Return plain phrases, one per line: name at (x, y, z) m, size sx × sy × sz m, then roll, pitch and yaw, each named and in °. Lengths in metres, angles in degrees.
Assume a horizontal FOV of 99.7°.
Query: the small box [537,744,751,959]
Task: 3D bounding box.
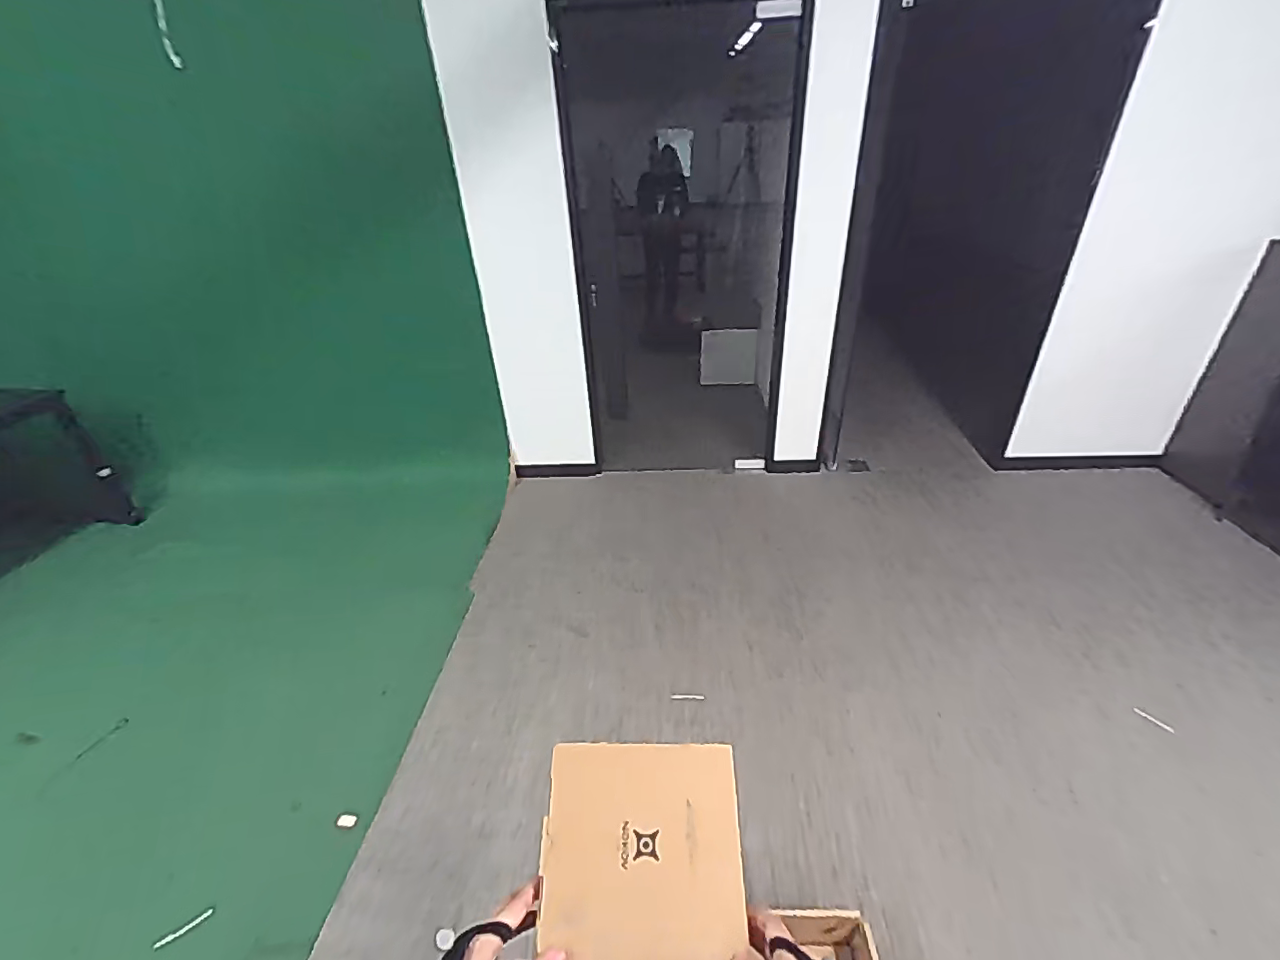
small box at (0.006, 0.369, 0.540) m, size 0.179 × 0.176 × 0.168 m, roll -1°, pitch 54°, yaw 1°
